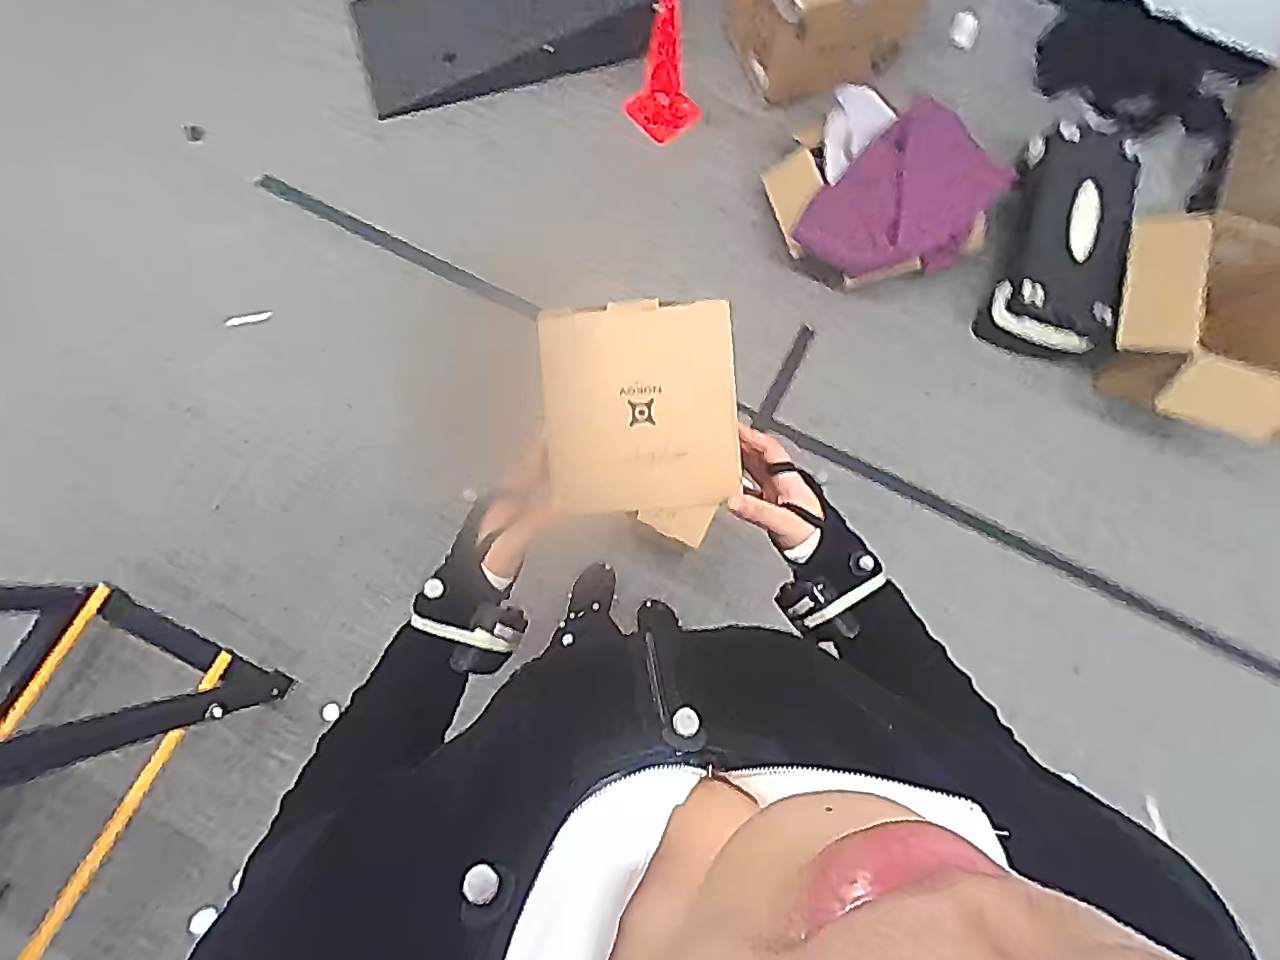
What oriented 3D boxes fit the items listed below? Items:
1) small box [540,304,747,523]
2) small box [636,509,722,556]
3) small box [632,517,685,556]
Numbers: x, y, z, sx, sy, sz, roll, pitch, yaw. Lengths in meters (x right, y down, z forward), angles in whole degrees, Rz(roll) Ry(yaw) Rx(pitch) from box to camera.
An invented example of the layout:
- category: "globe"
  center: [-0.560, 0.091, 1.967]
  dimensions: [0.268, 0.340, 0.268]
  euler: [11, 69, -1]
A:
- category: "small box"
  center: [-0.001, -0.057, 0.532]
  dimensions: [0.168, 0.176, 0.179]
  euler: [-6, 91, -2]
- category: "small box"
  center: [0.097, 0.067, 1.290]
  dimensions: [0.168, 0.176, 0.179]
  euler: [27, 80, 4]
- category: "small box"
  center: [0.087, 0.098, 1.452]
  dimensions: [0.179, 0.176, 0.168]
  euler: [24, 79, 3]
